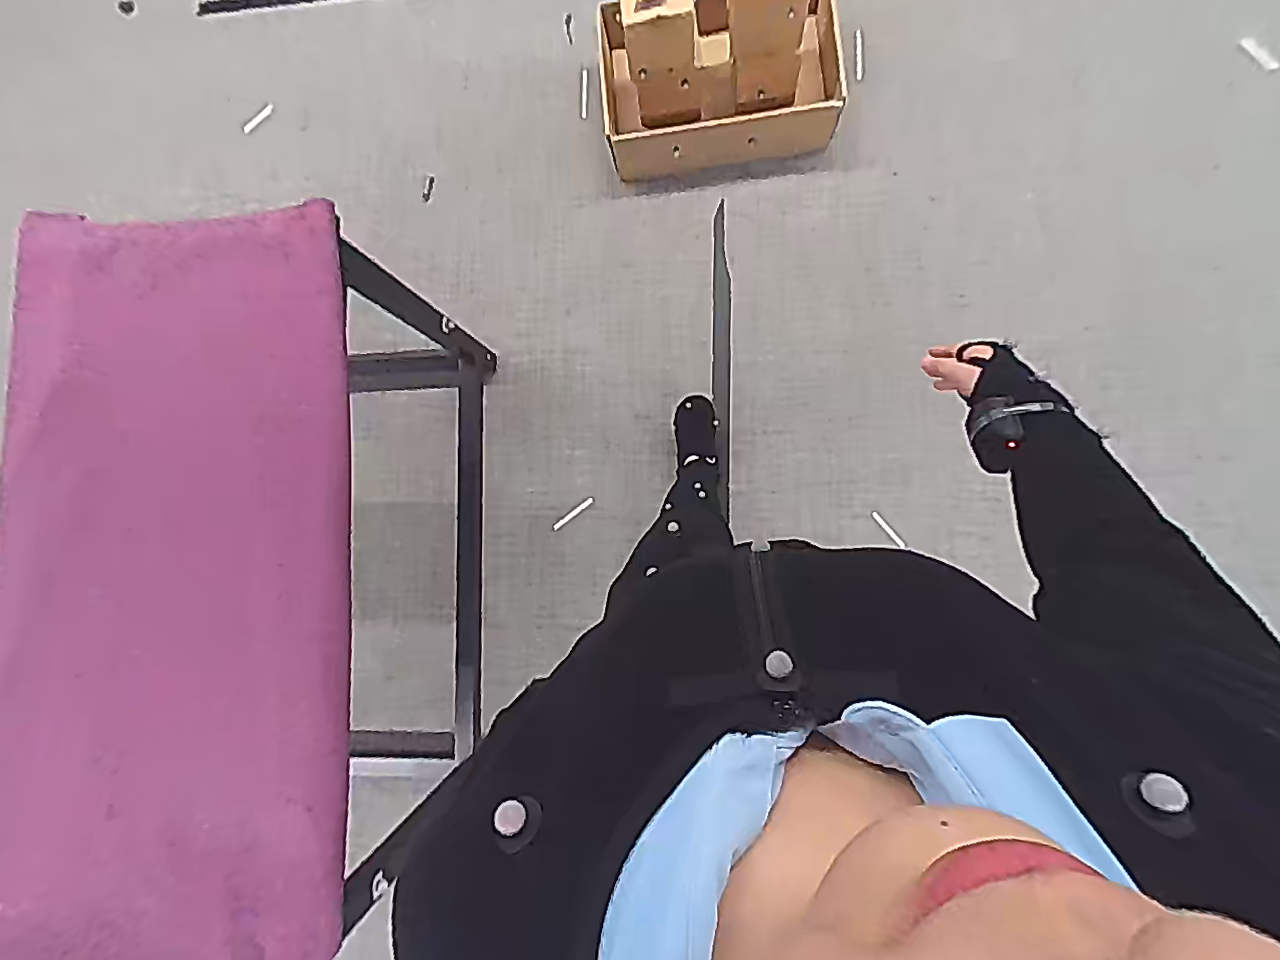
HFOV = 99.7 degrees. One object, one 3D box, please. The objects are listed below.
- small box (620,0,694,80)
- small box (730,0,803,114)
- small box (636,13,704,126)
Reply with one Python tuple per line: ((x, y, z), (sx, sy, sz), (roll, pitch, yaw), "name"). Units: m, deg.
((0.041, -1.112, 1.309), (0.168, 0.176, 0.179), (-7, 83, 5), "small box")
((0.332, -1.130, 1.445), (0.168, 0.176, 0.179), (-5, 85, 7), "small box")
((0.075, -1.107, 1.471), (0.179, 0.176, 0.168), (-7, 84, 5), "small box")
